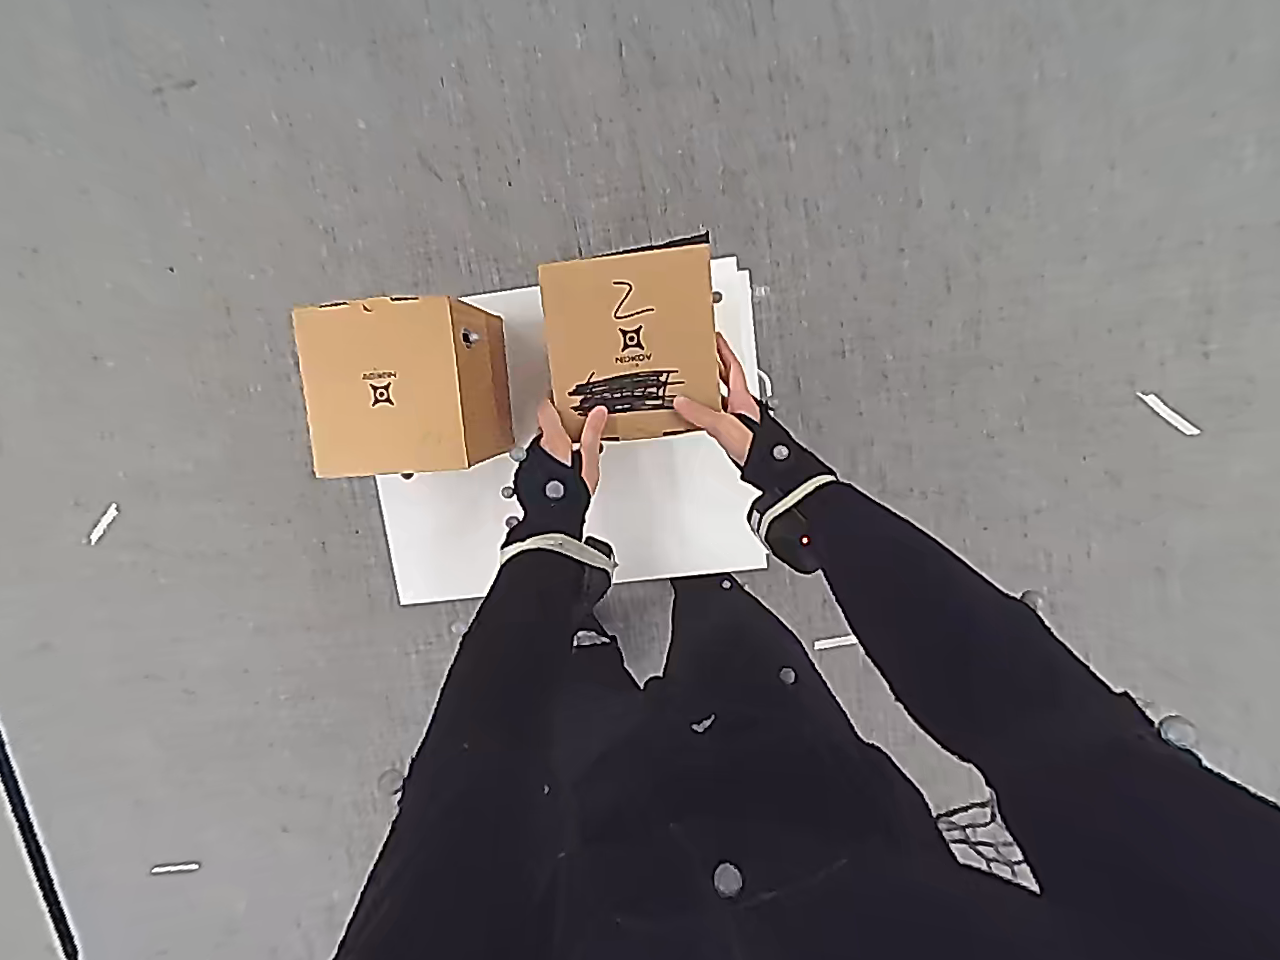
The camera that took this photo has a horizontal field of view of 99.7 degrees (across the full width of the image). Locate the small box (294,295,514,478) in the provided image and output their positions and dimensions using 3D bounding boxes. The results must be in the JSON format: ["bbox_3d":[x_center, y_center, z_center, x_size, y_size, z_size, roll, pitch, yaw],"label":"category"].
[{"bbox_3d":[-0.253,-0.104,0.623,0.168,0.176,0.179,-3,98,4],"label":"small box"}]
